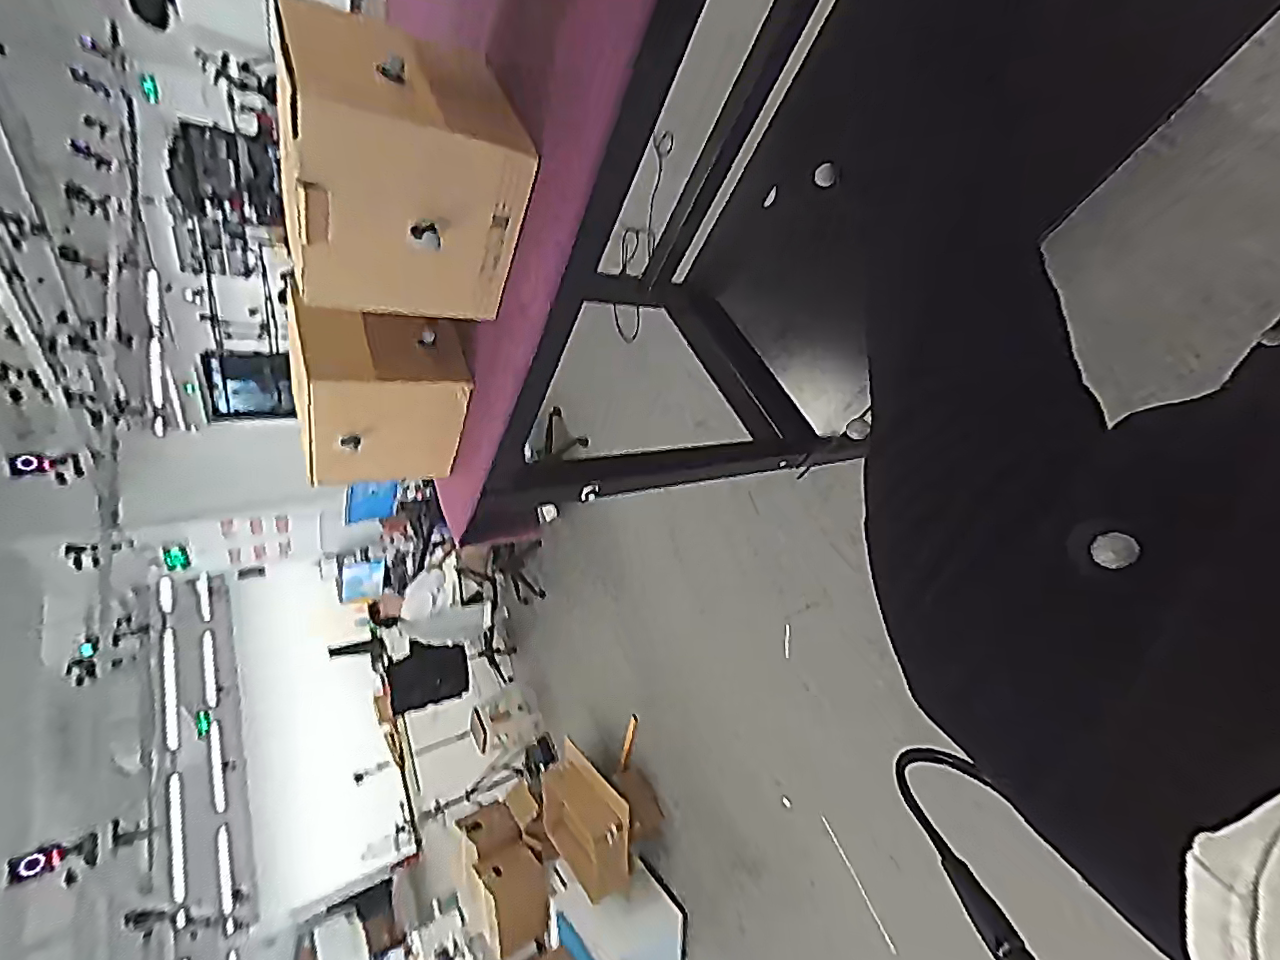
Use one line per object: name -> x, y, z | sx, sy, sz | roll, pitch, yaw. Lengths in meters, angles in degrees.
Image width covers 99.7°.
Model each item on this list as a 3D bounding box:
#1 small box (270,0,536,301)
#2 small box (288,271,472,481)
small box -> -0.207, -0.275, 0.471 | 0.168, 0.176, 0.179 | -56, 52, 43
small box -> -0.314, -0.118, 0.651 | 0.179, 0.176, 0.168 | -56, 52, 43
